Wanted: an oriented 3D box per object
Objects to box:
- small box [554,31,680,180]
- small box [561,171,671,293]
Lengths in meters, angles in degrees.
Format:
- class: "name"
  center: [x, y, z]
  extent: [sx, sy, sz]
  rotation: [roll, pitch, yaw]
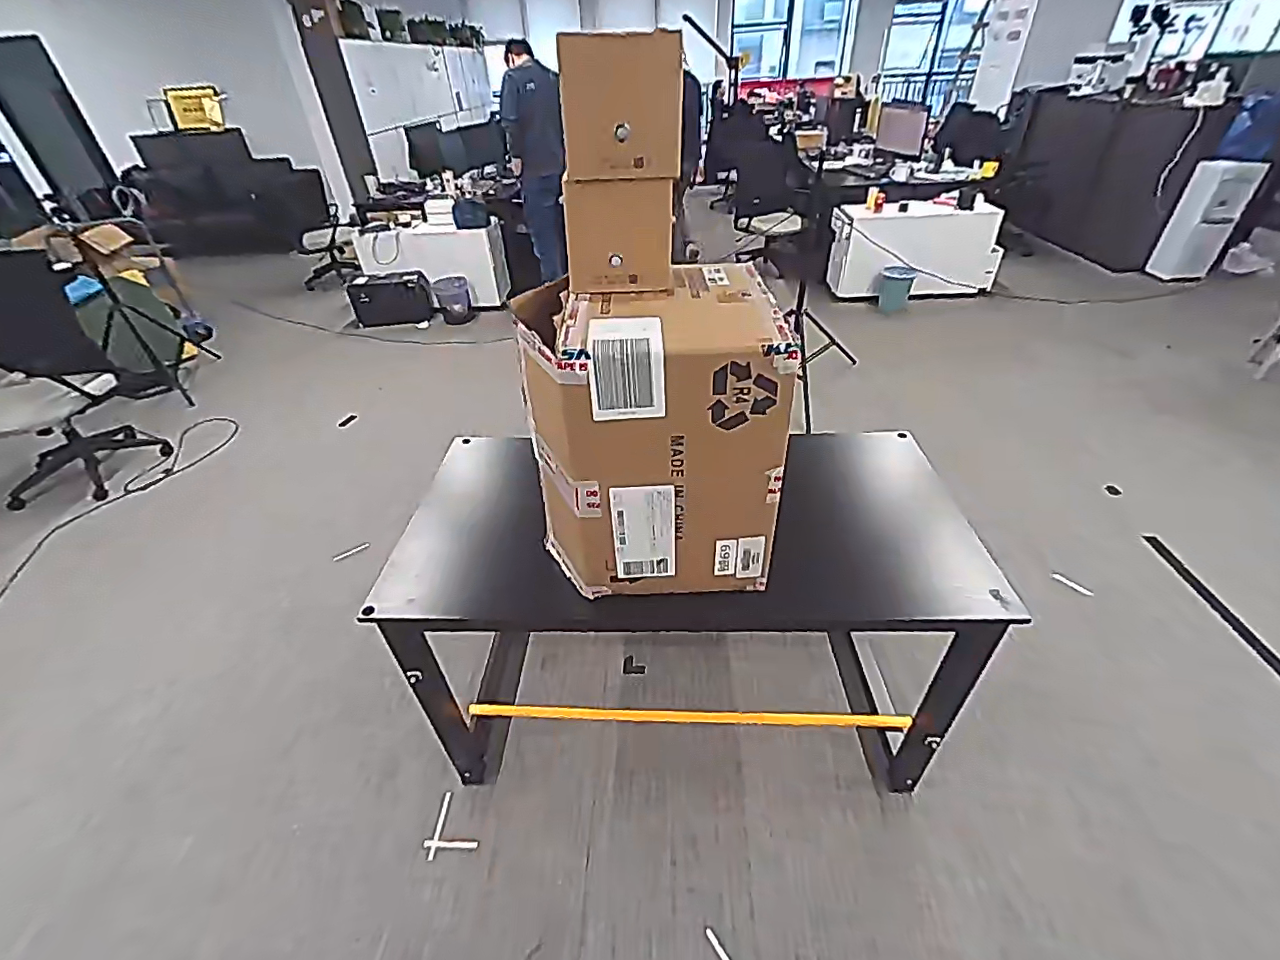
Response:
- class: "small box"
  center: [-0.035, -0.553, 0.807]
  extent: [0.168, 0.176, 0.179]
  rotation: [-4, 35, -3]
- class: "small box"
  center: [-0.039, -0.423, 0.909]
  extent: [0.168, 0.176, 0.179]
  rotation: [-3, 36, -2]
